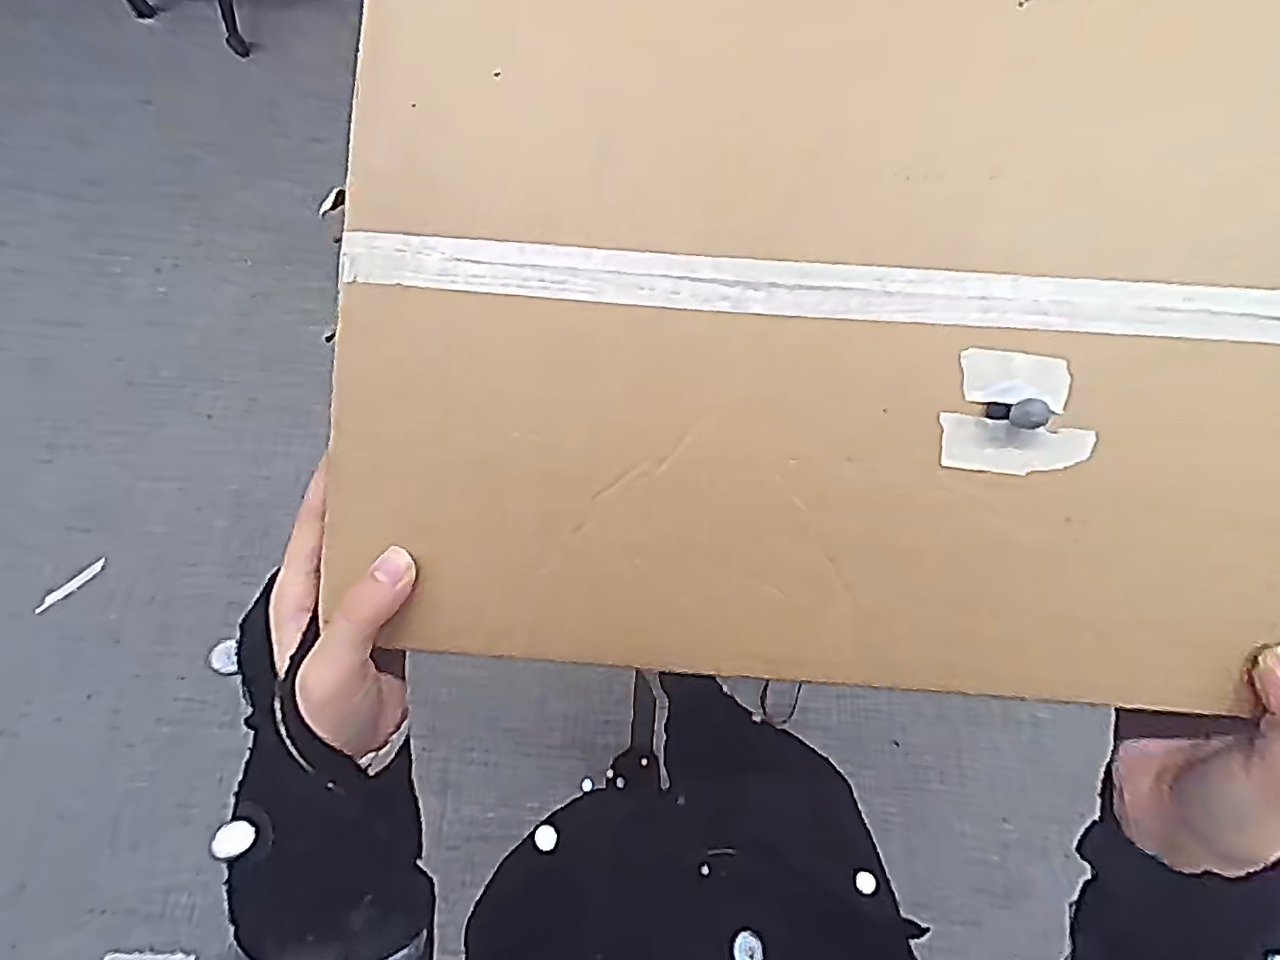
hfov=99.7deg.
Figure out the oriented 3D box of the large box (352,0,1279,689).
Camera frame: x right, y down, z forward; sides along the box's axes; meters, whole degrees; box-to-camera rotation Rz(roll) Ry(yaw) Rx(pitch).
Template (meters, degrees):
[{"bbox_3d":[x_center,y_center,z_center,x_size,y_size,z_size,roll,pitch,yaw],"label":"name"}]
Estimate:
[{"bbox_3d":[0.082,-0.070,0.378,0.408,0.320,0.320,4,89,0],"label":"large box"}]
